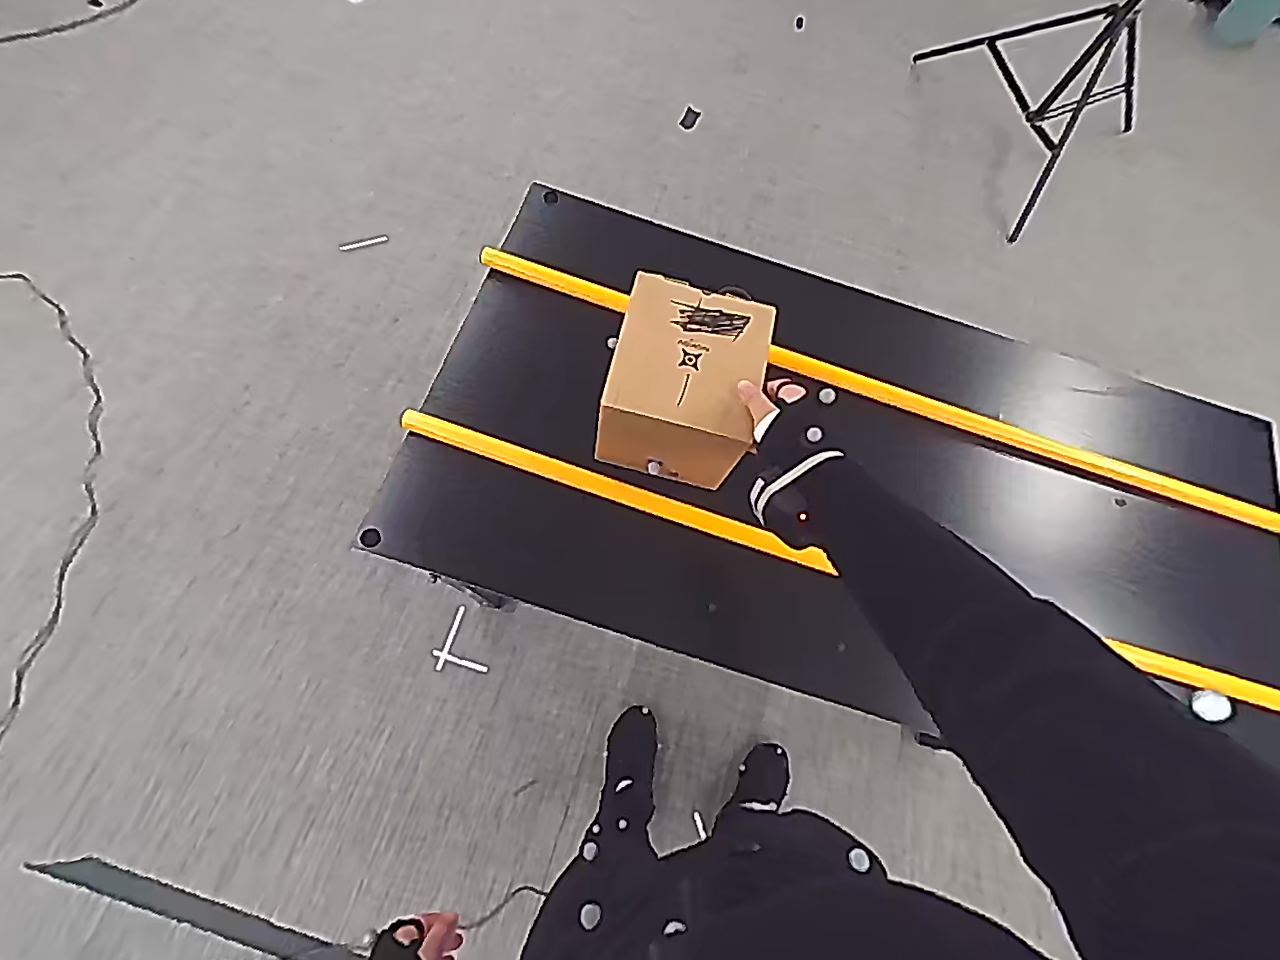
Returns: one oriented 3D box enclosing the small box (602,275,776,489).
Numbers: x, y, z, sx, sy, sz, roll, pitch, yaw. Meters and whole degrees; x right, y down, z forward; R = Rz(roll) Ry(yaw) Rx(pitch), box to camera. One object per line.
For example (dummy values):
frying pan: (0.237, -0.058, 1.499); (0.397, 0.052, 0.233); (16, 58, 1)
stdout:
small box: (0.051, -0.110, 0.665); (0.168, 0.176, 0.179); (15, 71, -1)
